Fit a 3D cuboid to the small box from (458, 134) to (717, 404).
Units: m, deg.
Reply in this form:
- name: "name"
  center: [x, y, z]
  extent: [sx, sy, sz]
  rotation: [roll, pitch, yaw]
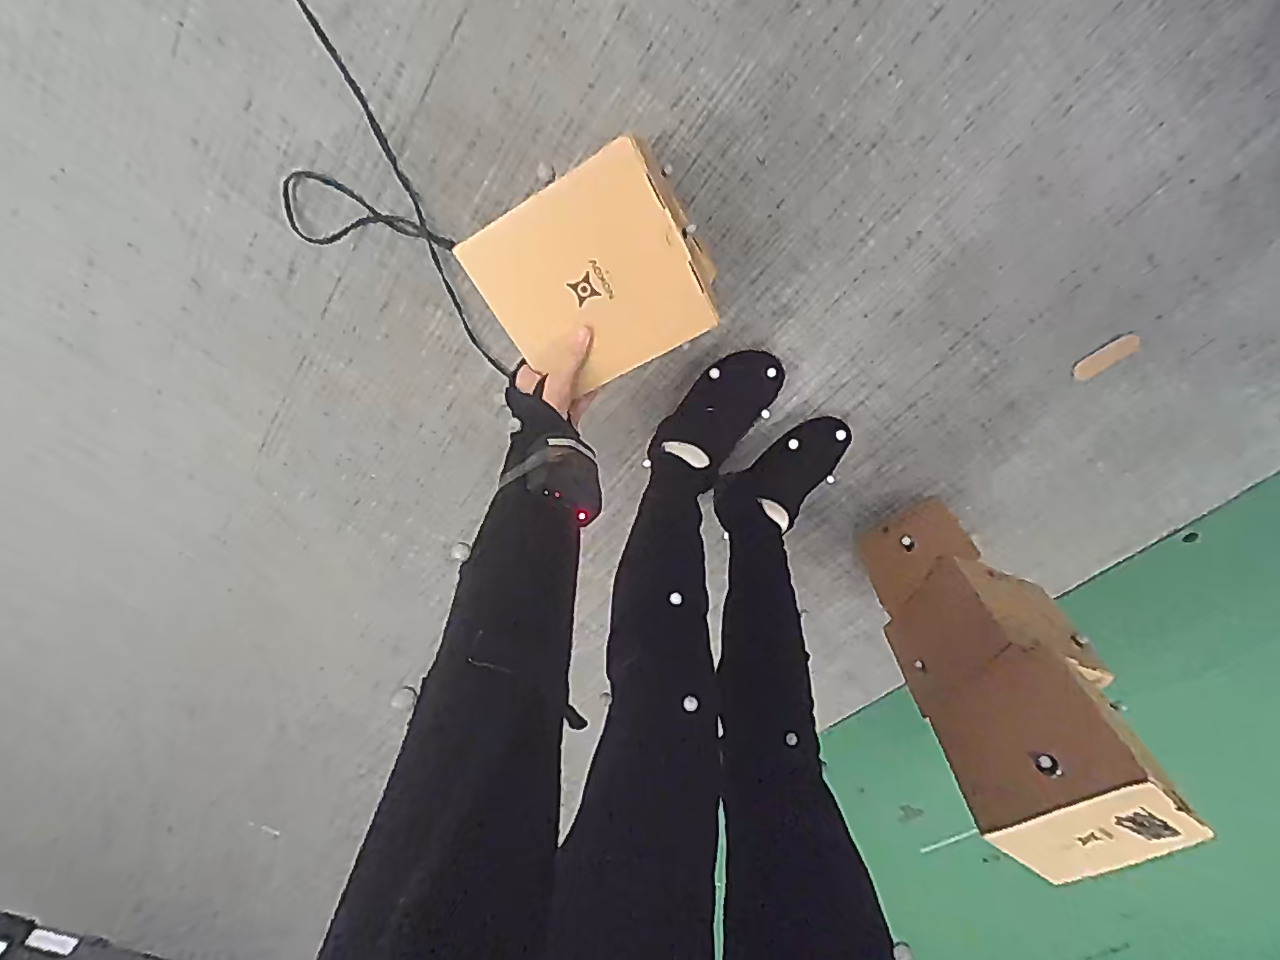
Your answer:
- name: "small box"
  center: [-0.038, -0.207, 0.535]
  extent: [0.179, 0.176, 0.168]
  rotation: [-24, 117, 16]

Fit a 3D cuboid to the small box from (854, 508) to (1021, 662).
- name: "small box"
  center: [0.499, 0.171, 0.932]
  extent: [0.168, 0.176, 0.179]
  rotation: [-34, 113, 22]

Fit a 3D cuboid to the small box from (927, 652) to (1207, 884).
- name: "small box"
  center: [0.490, 0.340, 0.650]
  extent: [0.168, 0.176, 0.179]
  rotation: [38, 117, -20]
